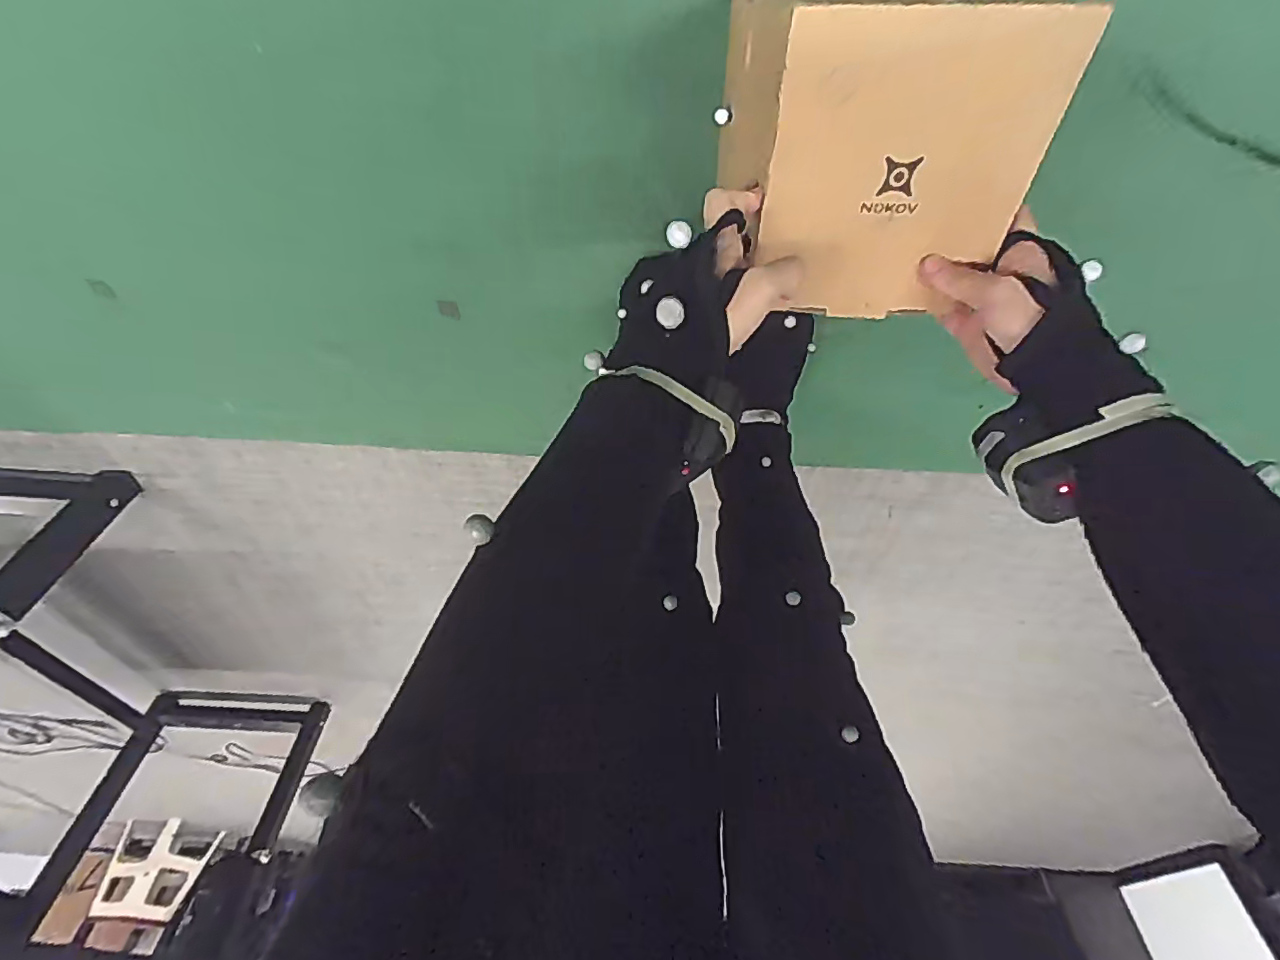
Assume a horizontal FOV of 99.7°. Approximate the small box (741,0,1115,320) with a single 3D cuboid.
[{"bbox_3d":[0.169,-0.239,0.396,0.168,0.176,0.179,3,135,3],"label":"small box"}]
